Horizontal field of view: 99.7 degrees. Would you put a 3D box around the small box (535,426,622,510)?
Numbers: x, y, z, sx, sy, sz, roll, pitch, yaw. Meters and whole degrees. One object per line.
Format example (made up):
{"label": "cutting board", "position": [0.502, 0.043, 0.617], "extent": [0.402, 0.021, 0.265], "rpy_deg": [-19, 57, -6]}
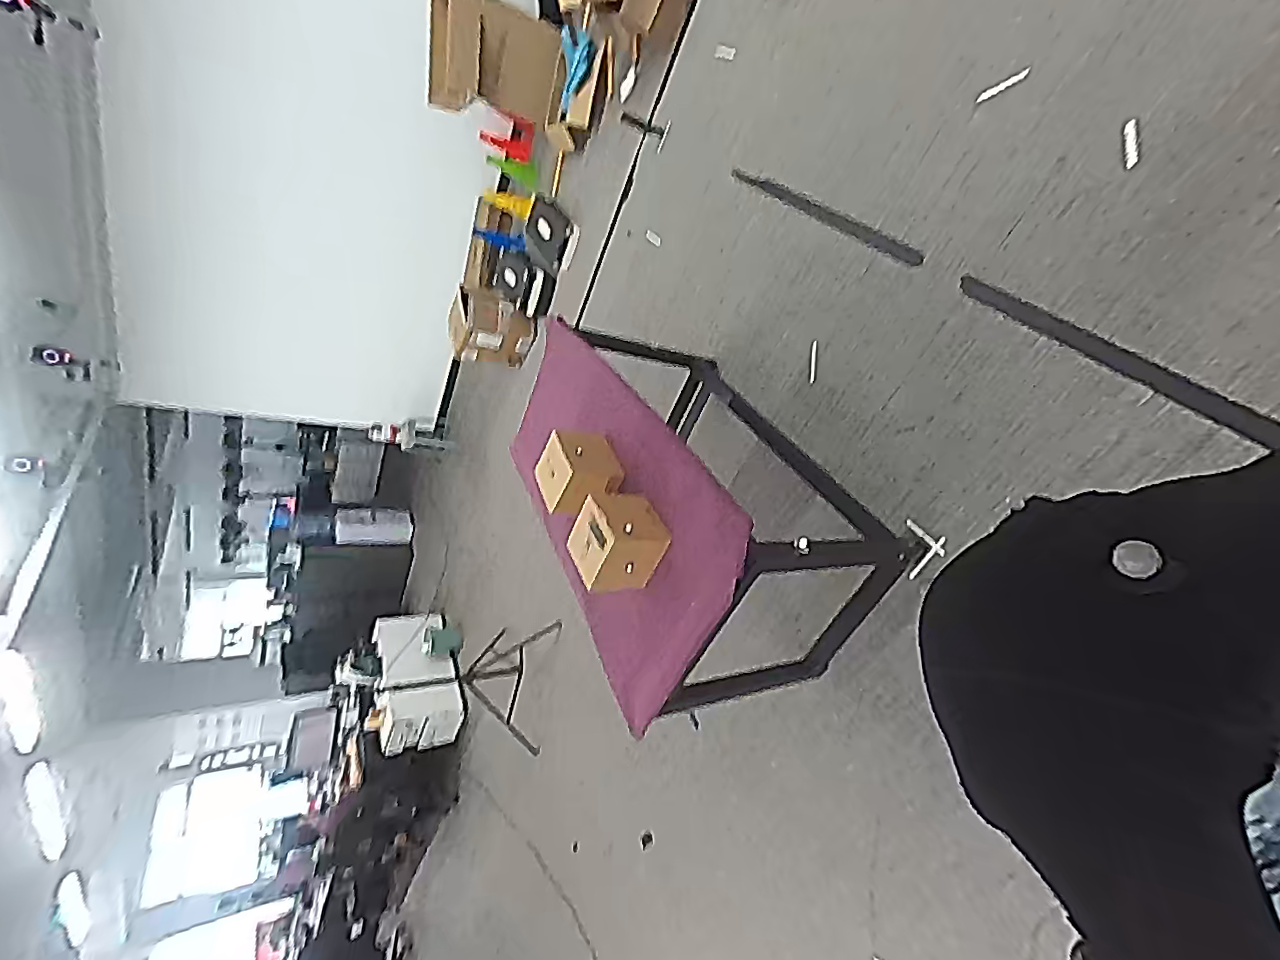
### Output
{"label": "small box", "position": [-0.172, -0.033, 1.528], "extent": [0.168, 0.176, 0.179], "rpy_deg": [-57, 44, 34]}
